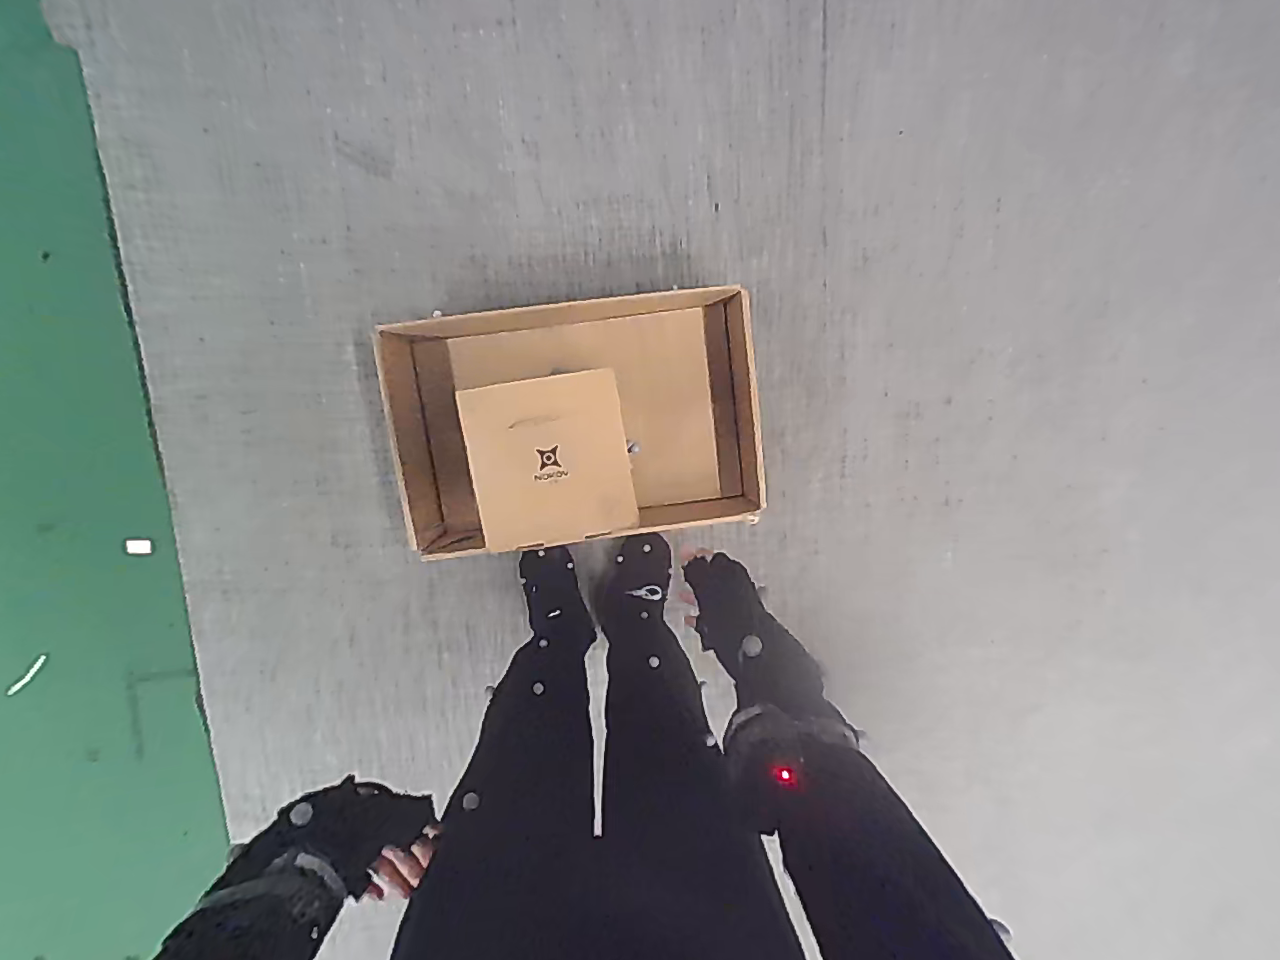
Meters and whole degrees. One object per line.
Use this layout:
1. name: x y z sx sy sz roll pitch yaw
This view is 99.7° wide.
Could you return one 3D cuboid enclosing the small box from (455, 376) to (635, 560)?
1. small box: -0.100 -0.020 0.644 0.168 0.176 0.179 -10 96 -2
